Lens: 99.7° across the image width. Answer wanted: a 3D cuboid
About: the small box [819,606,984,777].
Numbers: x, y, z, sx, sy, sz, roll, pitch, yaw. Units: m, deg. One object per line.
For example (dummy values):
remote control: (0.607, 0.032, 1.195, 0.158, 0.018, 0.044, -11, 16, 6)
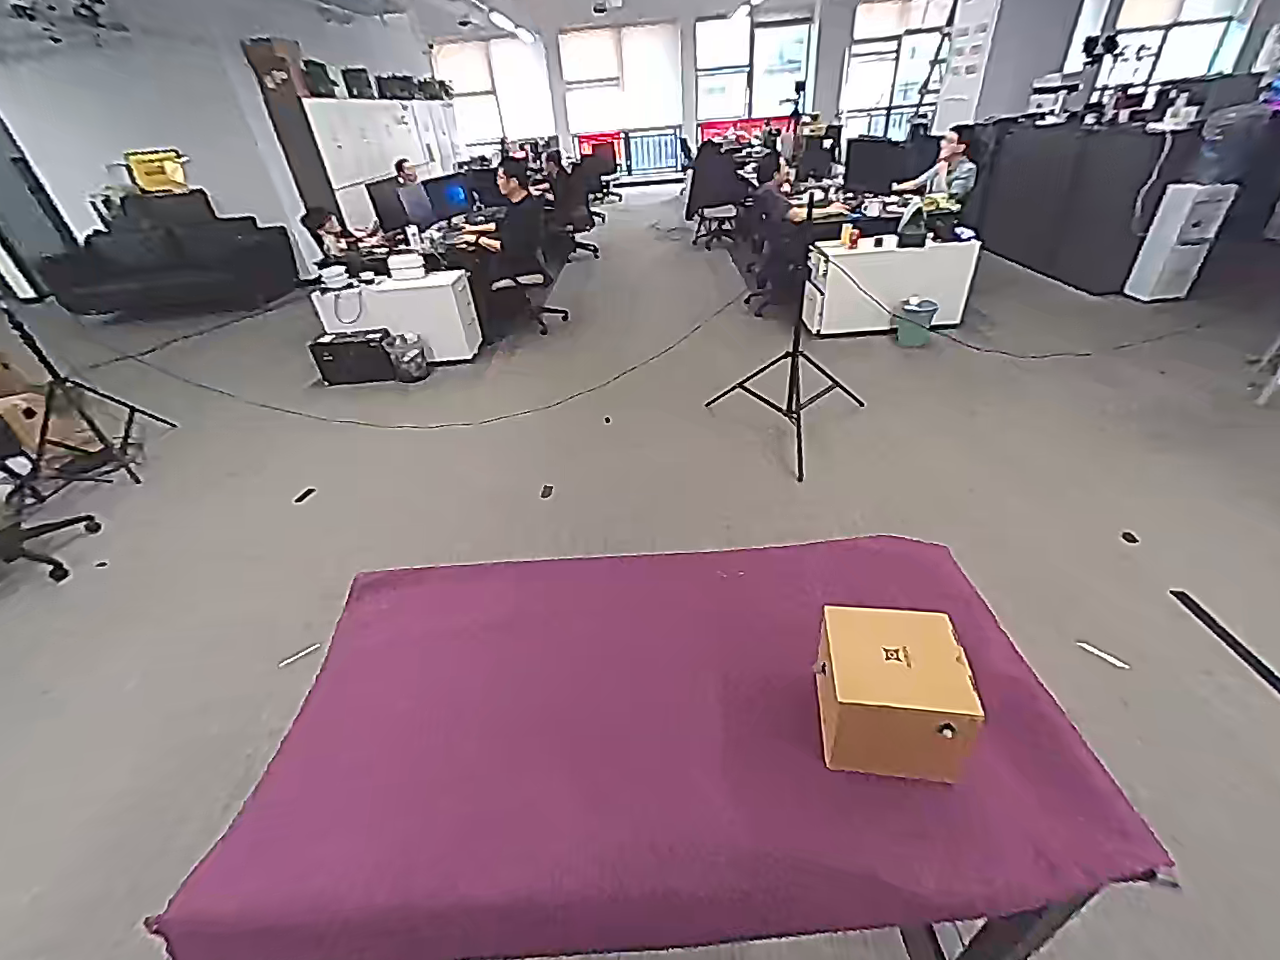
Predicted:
small box: (0.360, 0.305, 0.787, 0.179, 0.176, 0.168, 1, 35, 11)
